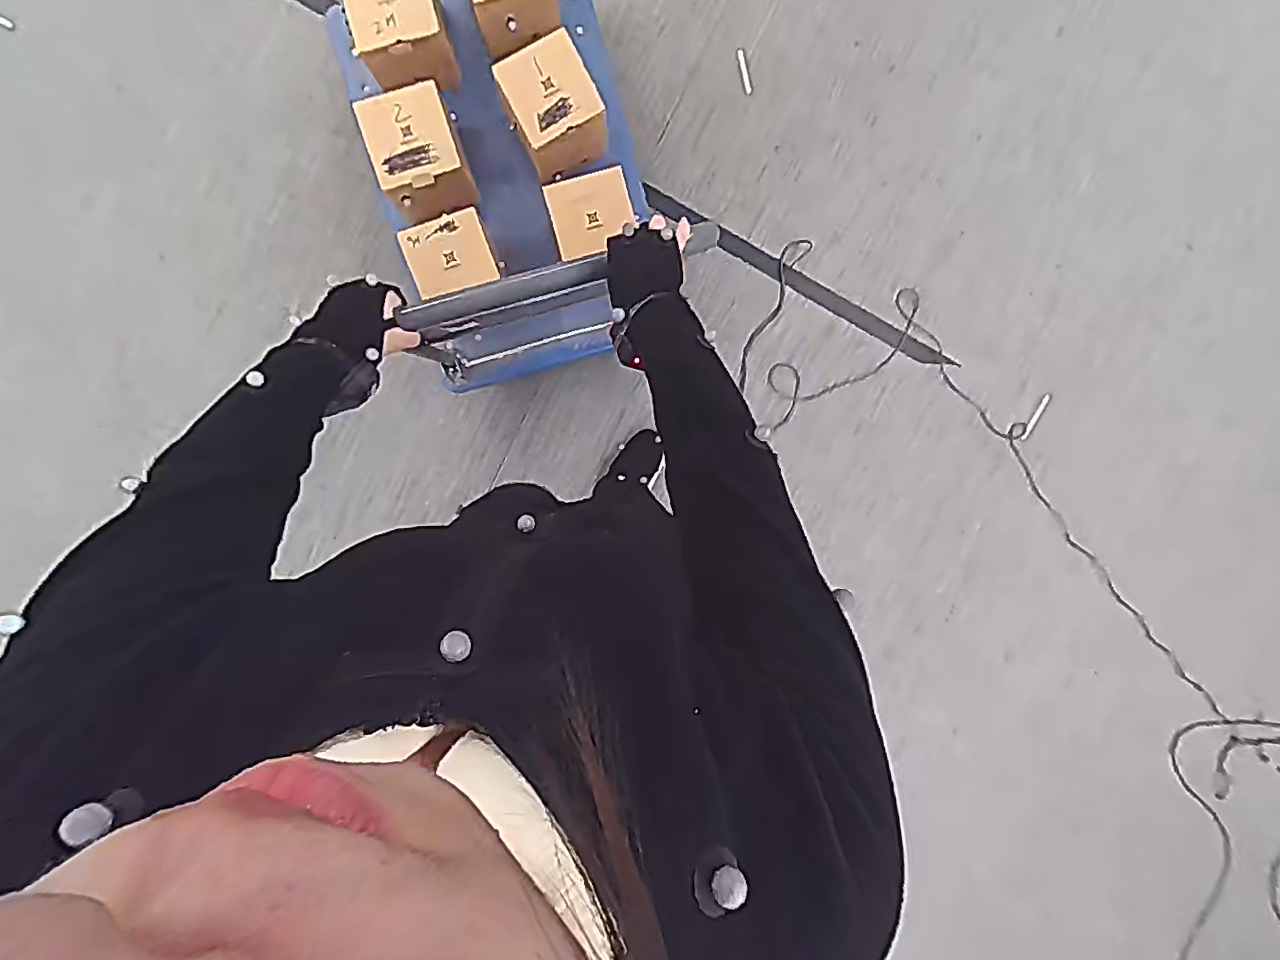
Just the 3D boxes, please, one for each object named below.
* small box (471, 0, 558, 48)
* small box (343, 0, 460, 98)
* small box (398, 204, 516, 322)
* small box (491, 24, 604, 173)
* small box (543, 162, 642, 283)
[{"bbox_3d":[-0.278,-1.037,1.108,0.168,0.176,0.179,-20,96,-1],"label":"small box"},{"bbox_3d":[-0.490,-0.935,1.106,0.168,0.176,0.179,-15,97,-1],"label":"small box"},{"bbox_3d":[-0.381,-0.451,1.160,0.168,0.176,0.179,-20,97,-2],"label":"small box"},{"bbox_3d":[-0.183,-0.783,1.138,0.168,0.176,0.179,-29,96,0],"label":"small box"},{"bbox_3d":[-0.098,-0.542,1.169,0.168,0.176,0.179,-16,96,-2],"label":"small box"}]
